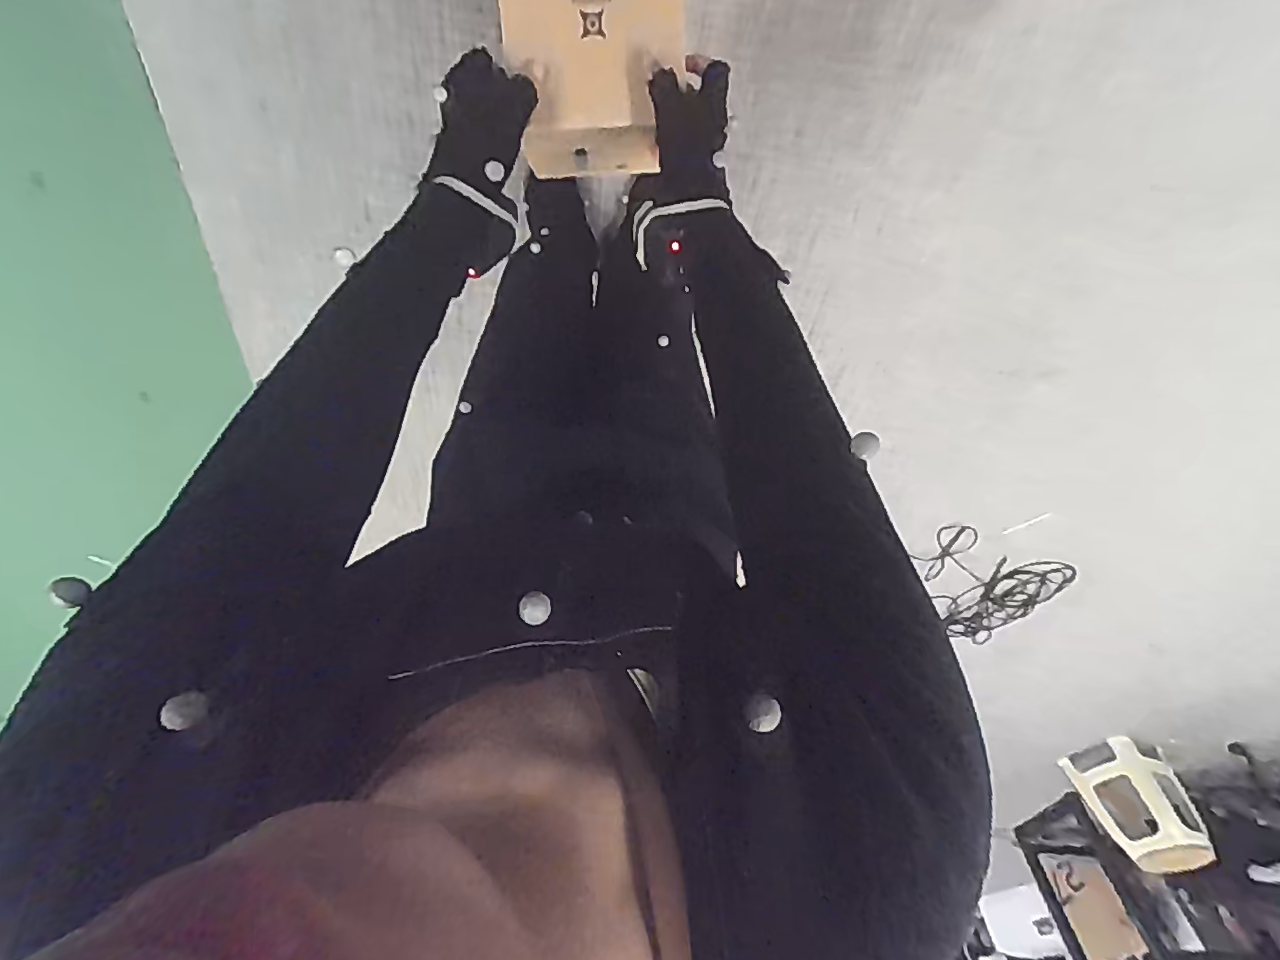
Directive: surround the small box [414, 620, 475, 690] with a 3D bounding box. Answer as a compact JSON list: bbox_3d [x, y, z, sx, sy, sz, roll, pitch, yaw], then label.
[{"bbox_3d":[-0.704,0.636,1.962,0.168,0.176,0.179,7,128,-5],"label":"small box"}]
